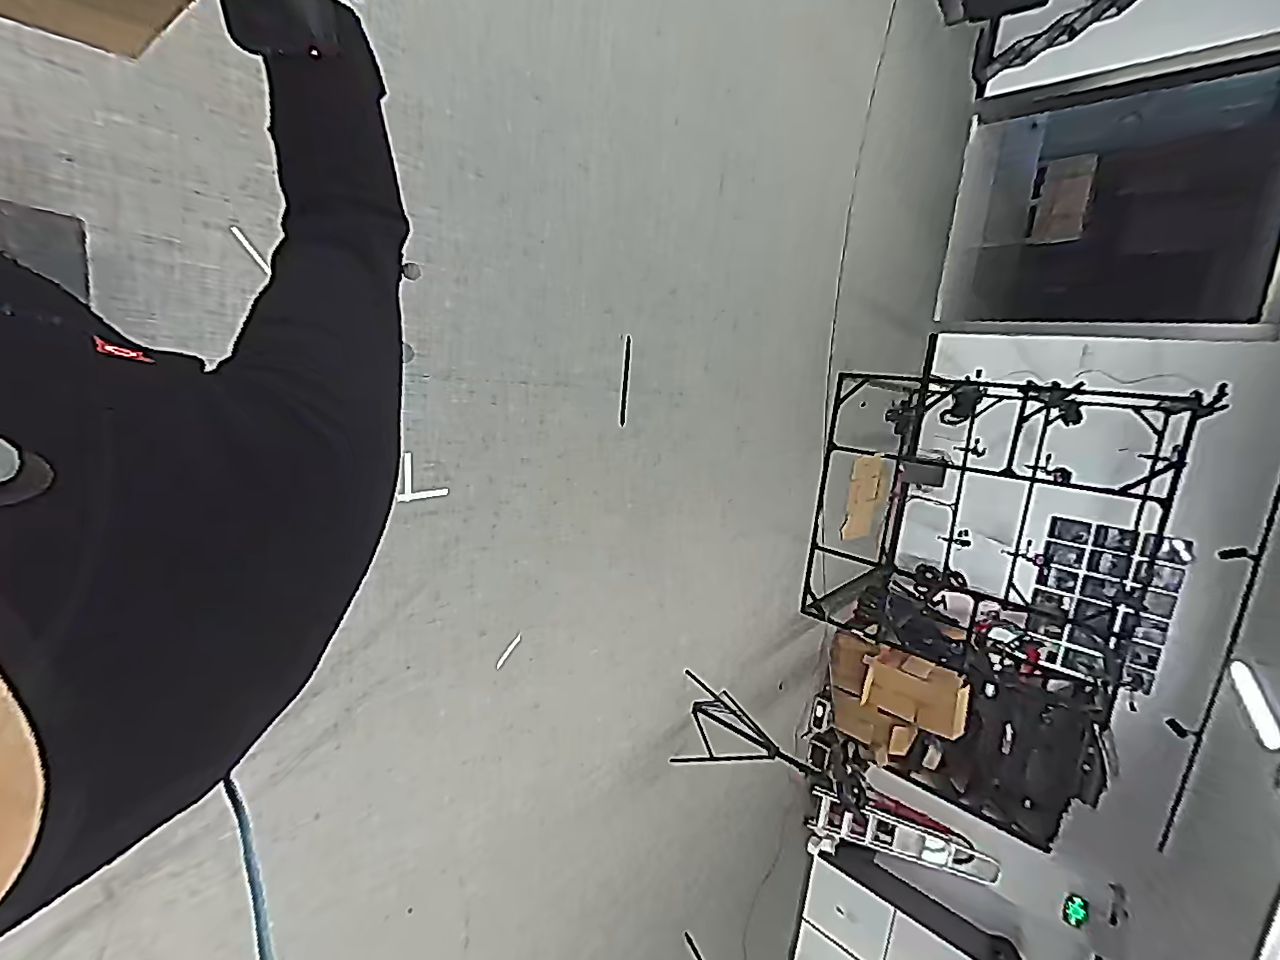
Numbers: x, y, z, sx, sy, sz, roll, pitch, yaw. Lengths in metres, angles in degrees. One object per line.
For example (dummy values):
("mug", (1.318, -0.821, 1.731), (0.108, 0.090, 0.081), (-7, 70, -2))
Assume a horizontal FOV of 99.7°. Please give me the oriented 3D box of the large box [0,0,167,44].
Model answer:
("large box", (-0.487, -0.483, 0.236), (0.408, 0.320, 0.320), (-14, 117, -49))
